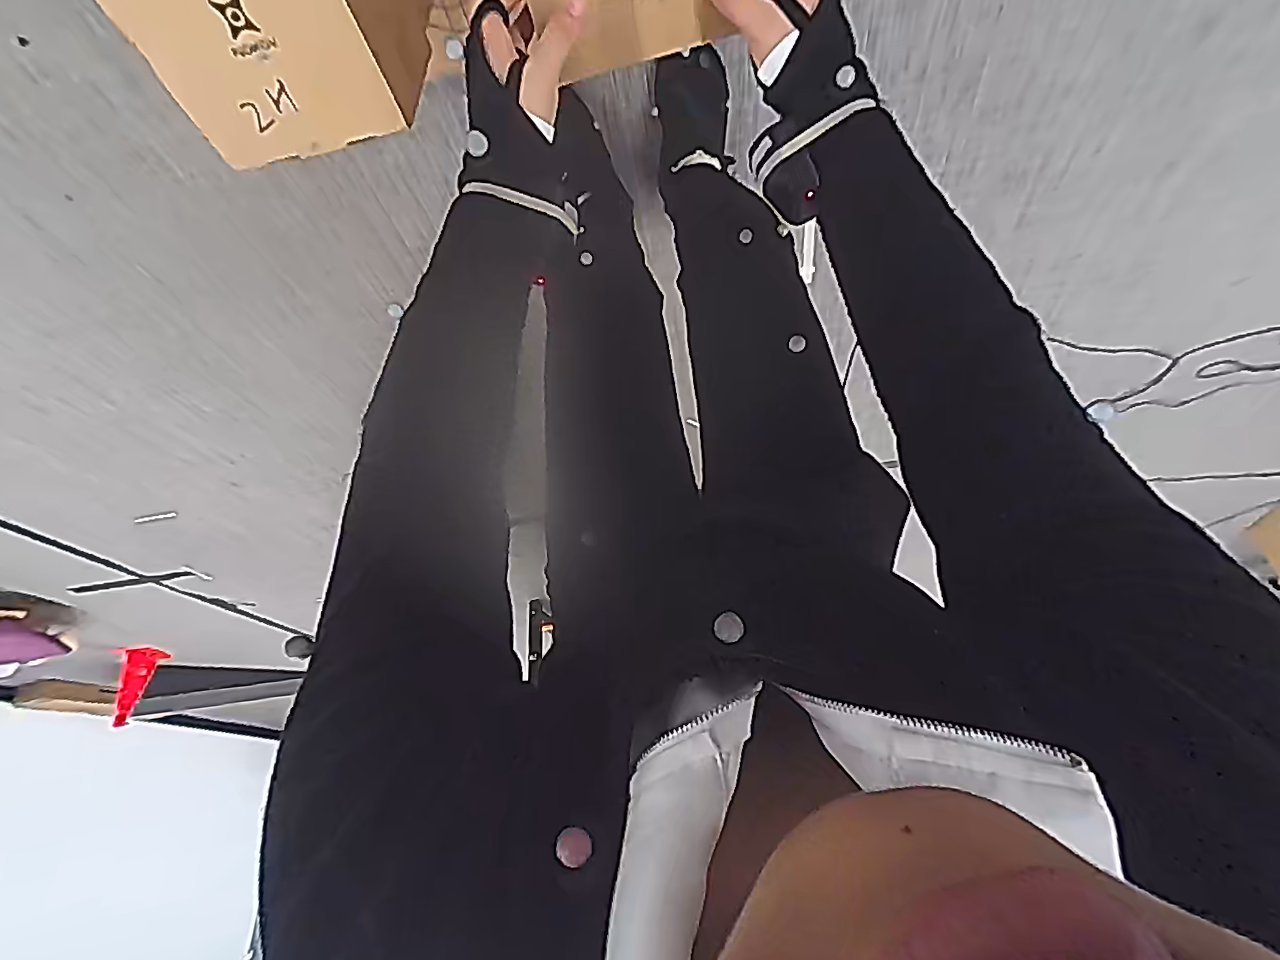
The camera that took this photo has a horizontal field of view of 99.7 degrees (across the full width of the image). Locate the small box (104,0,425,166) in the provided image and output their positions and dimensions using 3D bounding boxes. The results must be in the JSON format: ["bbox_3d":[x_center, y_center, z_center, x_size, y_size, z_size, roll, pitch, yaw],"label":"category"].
[{"bbox_3d":[-0.297,-0.401,0.439,0.168,0.176,0.179,-10,148,5],"label":"small box"}]

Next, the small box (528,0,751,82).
[{"bbox_3d":[-0.017,-0.451,0.405,0.168,0.176,0.179,-10,146,9],"label":"small box"}]
